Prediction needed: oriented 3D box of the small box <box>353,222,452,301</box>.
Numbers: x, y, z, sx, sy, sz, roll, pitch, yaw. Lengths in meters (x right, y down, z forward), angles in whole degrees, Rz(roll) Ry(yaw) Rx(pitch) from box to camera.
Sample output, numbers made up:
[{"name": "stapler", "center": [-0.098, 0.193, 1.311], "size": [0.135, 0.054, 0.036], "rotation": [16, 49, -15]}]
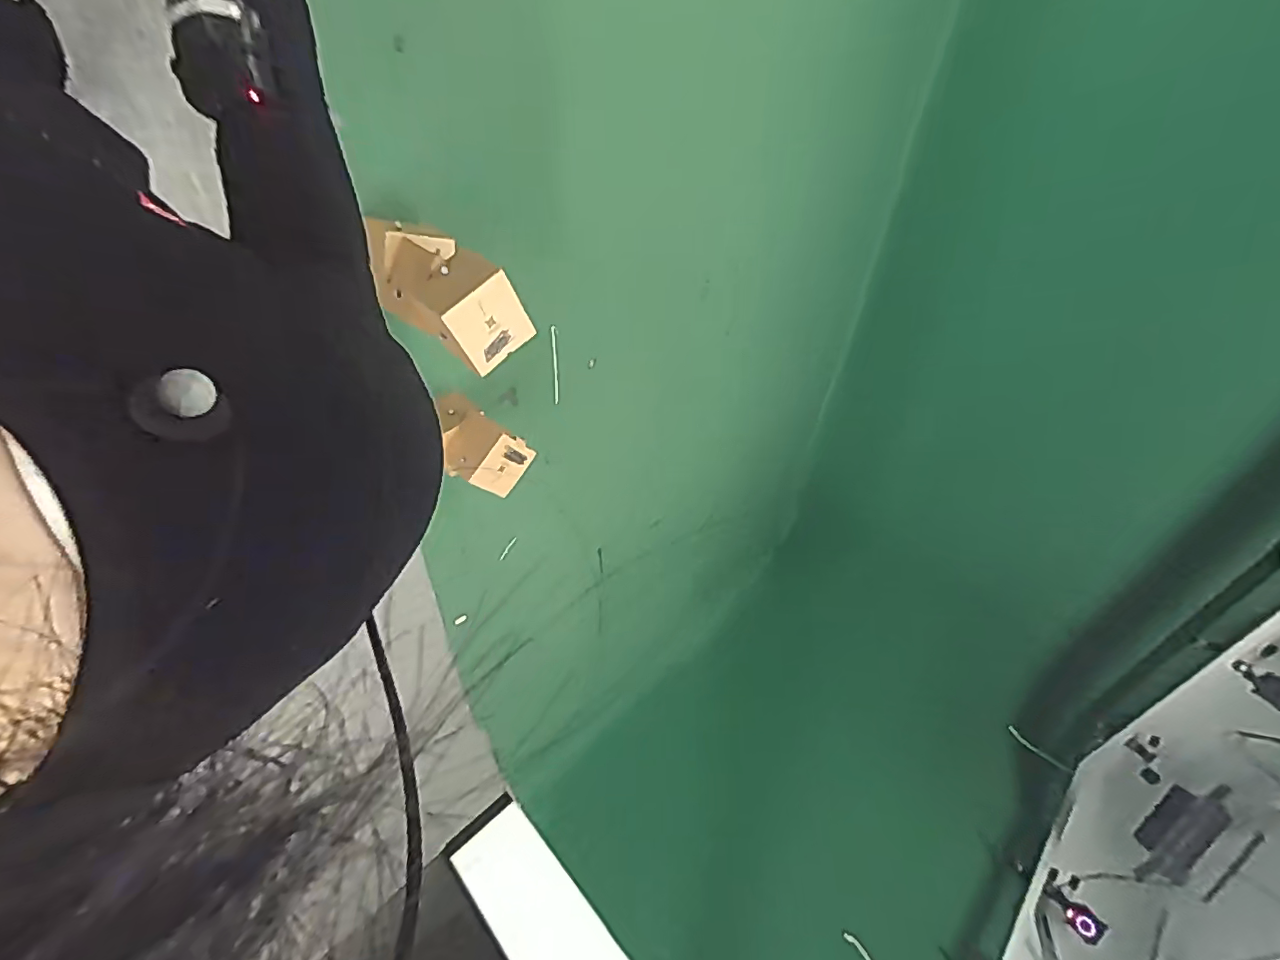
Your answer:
[{"name": "small box", "center": [-0.600, -0.535, 1.357], "size": [0.179, 0.176, 0.168], "rotation": [-16, 132, -46]}]

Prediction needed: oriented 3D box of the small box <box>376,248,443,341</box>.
[{"name": "small box", "center": [-0.494, -0.429, 1.288], "size": [0.179, 0.176, 0.168], "rotation": [12, 110, -56]}]

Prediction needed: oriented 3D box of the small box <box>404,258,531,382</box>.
[{"name": "small box", "center": [-0.379, -0.356, 1.195], "size": [0.168, 0.176, 0.179], "rotation": [-44, 146, -14]}]

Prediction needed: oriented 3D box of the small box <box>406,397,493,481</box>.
[{"name": "small box", "center": [-0.603, -0.136, 1.716], "size": [0.179, 0.176, 0.168], "rotation": [-38, 144, -27]}]
